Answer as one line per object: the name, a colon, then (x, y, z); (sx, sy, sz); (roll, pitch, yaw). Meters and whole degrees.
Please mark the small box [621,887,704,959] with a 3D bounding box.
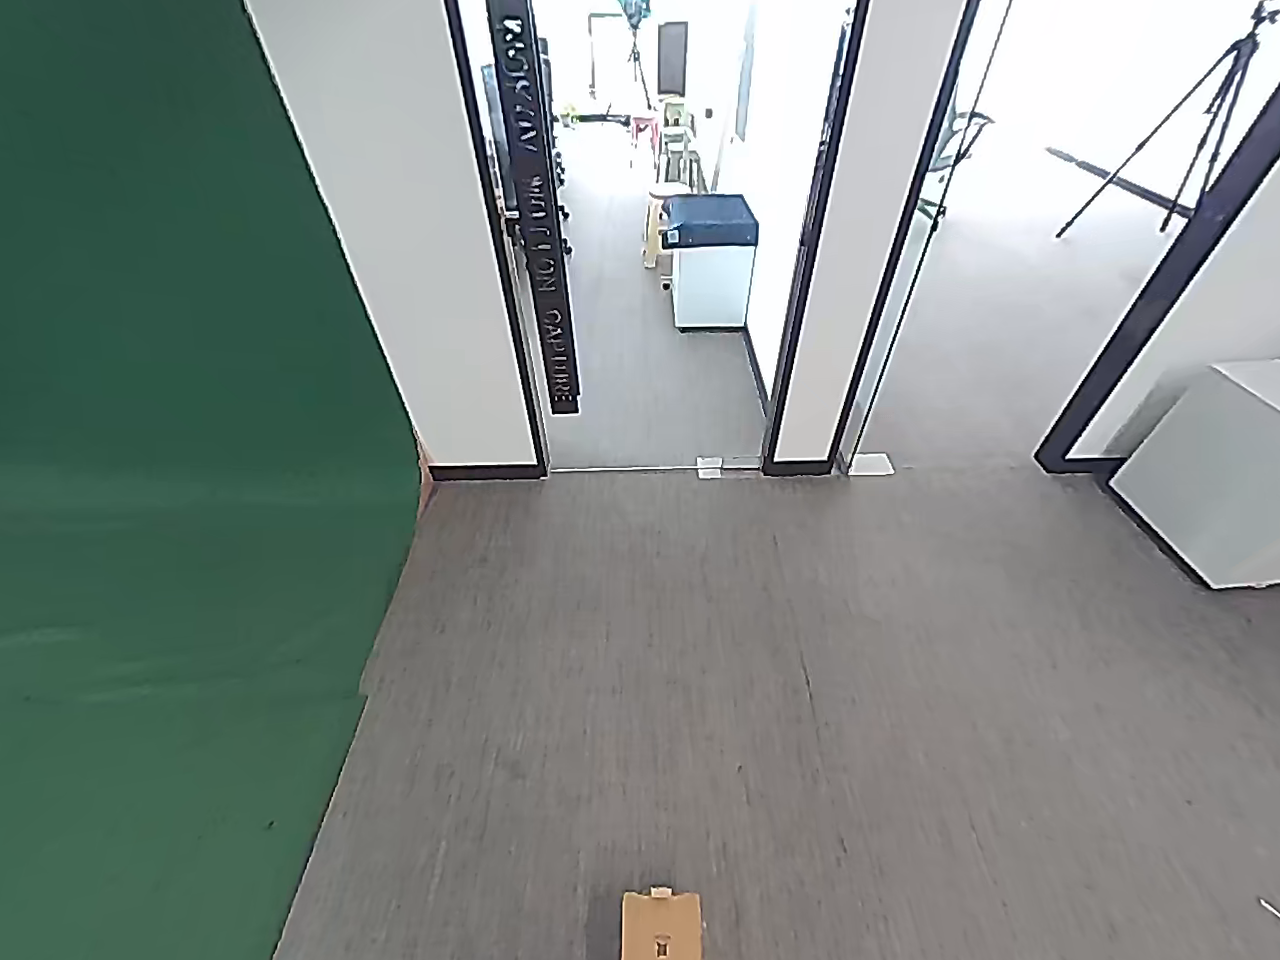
small box: (0.047, 0.982, 1.133); (0.168, 0.176, 0.179); (0, 44, 4)
